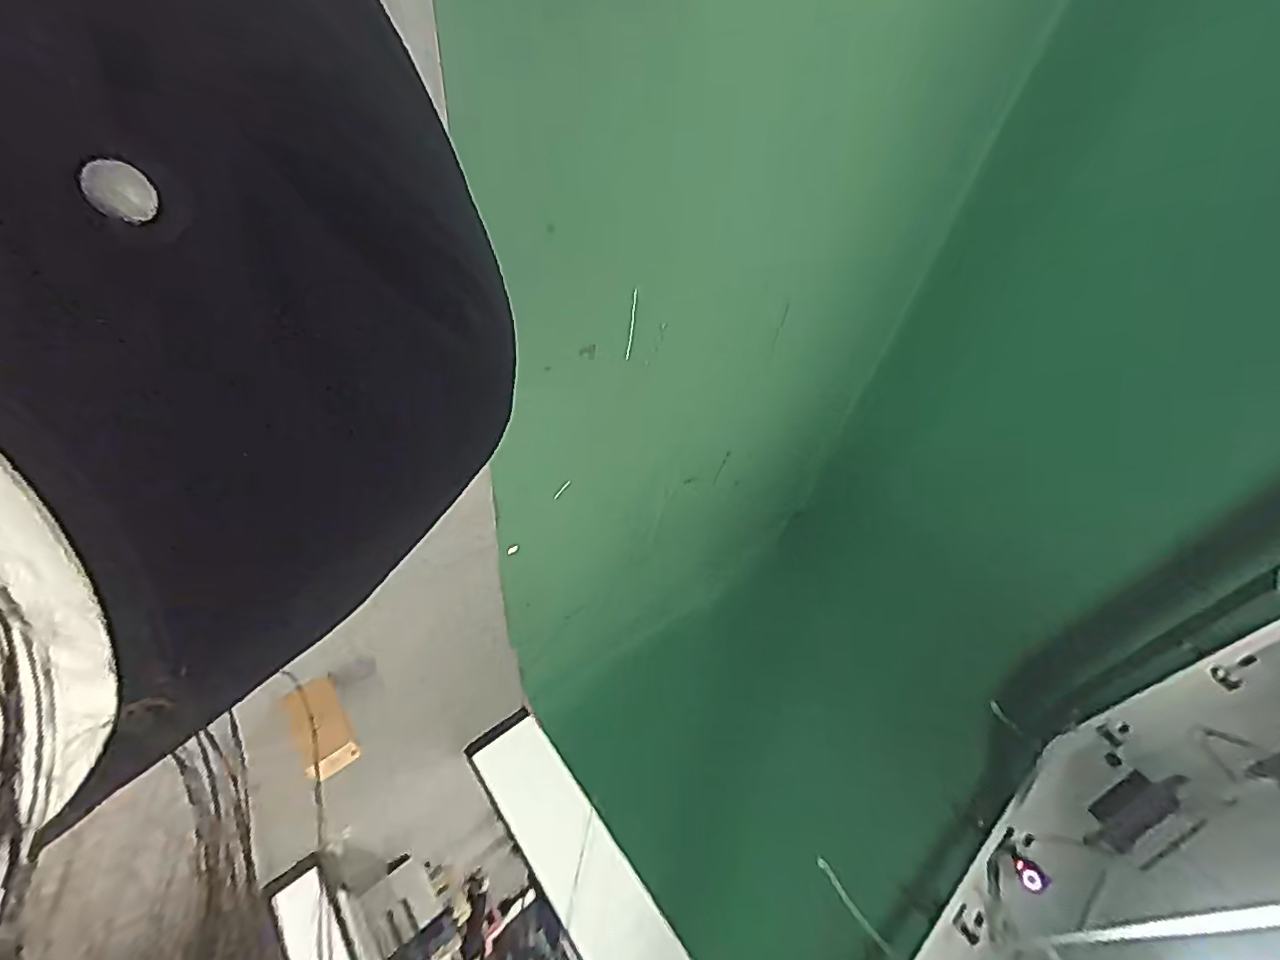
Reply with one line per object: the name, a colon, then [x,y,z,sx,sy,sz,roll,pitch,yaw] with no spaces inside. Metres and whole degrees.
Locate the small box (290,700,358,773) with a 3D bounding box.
small box: [-1.249,1.008,2.131,0.179,0.176,0.168,-27,147,-30]

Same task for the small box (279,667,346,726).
small box: [-1.347,0.907,2.215,0.179,0.176,0.168,-29,148,-31]
